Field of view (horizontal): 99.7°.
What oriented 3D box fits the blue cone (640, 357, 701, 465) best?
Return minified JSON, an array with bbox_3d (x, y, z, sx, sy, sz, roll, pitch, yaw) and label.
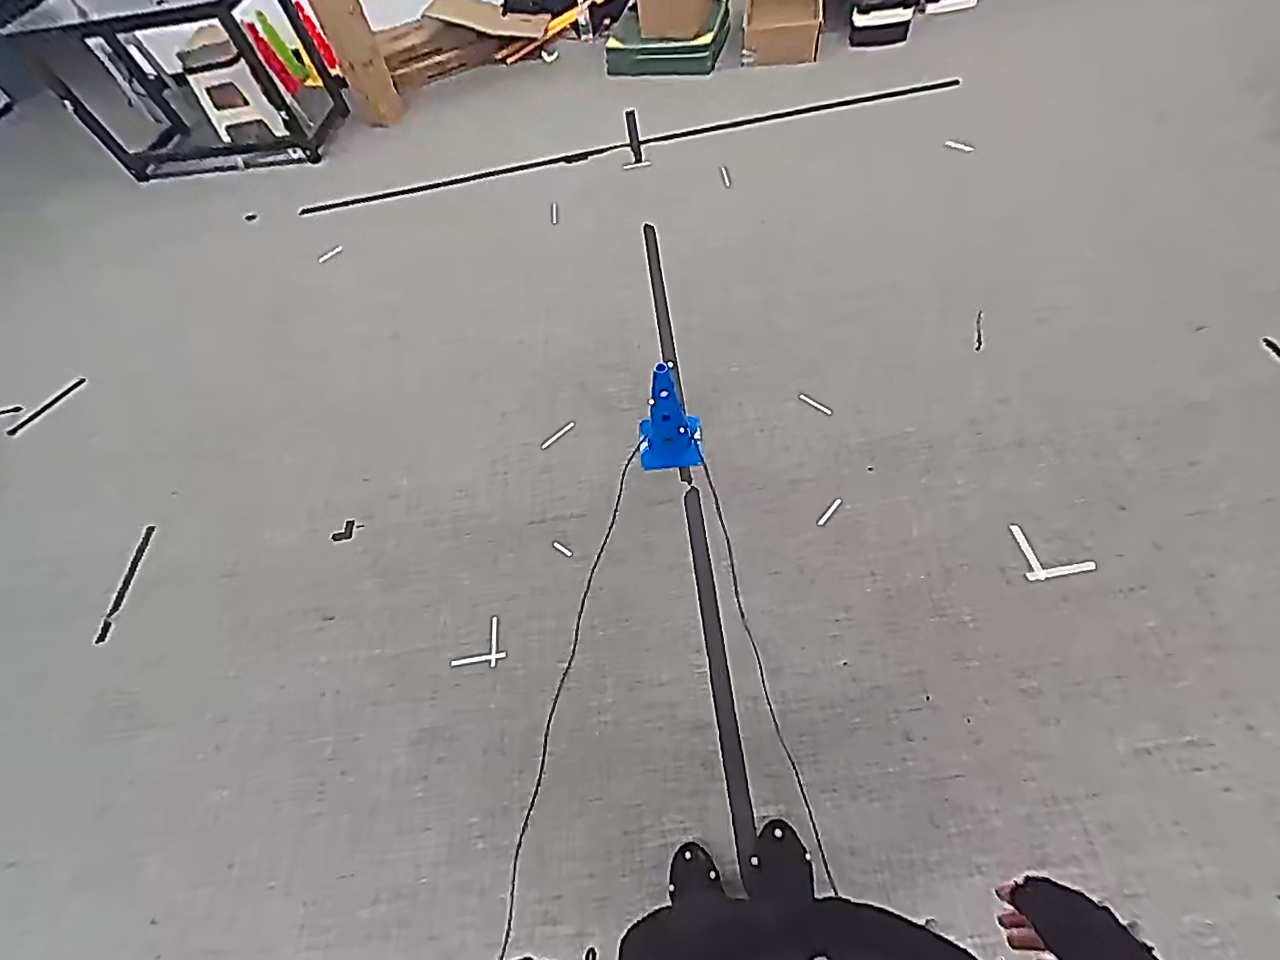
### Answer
[{"bbox_3d":[0.076,-0.216,1.598,0.193,0.380,0.192,-7,59,5],"label":"blue cone"}]
